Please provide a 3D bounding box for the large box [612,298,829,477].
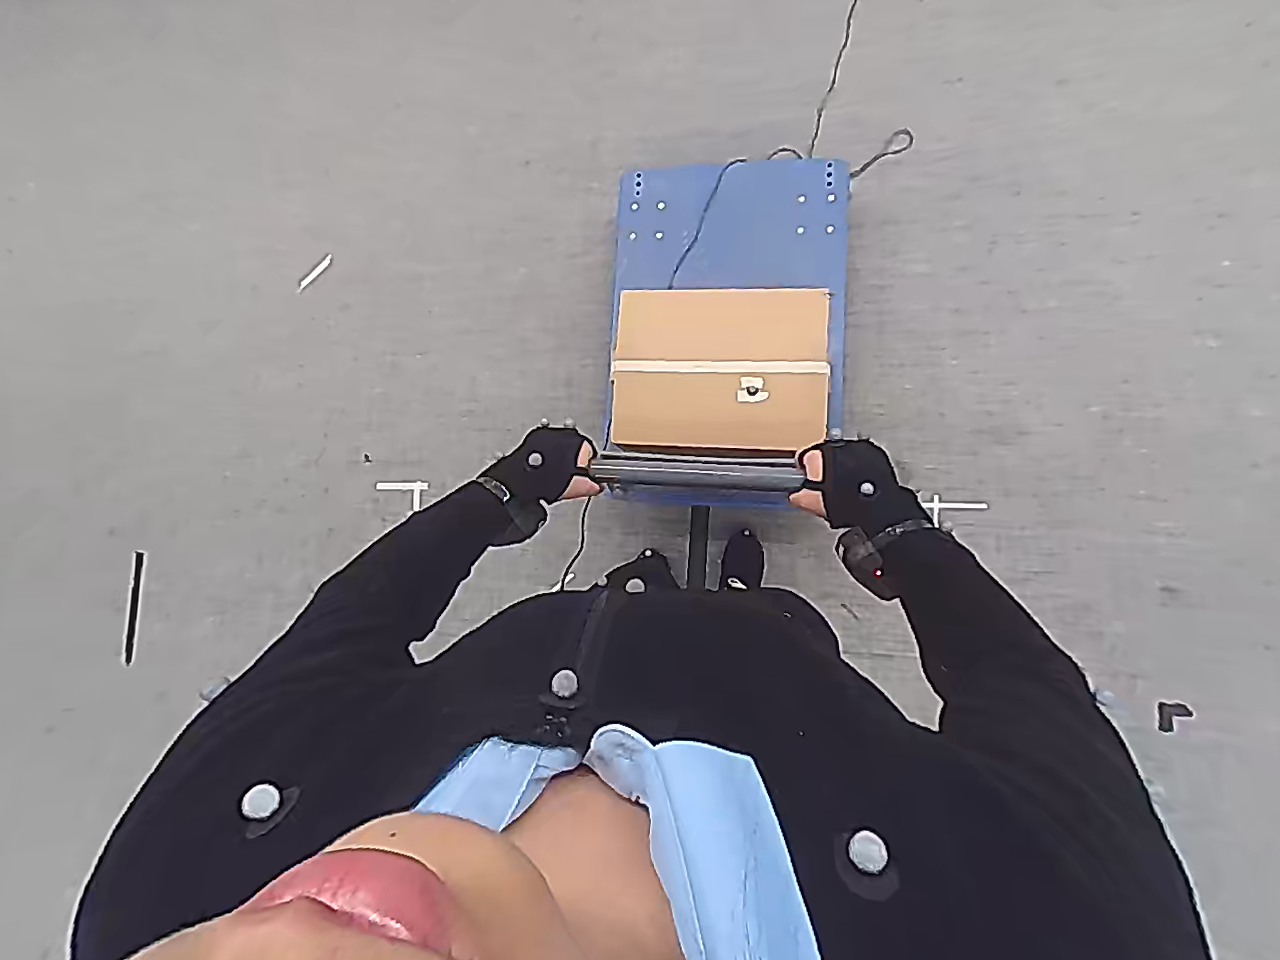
[{"bbox_3d":[0.169,-0.179,1.169,0.408,0.320,0.320,3,85,9],"label":"large box"}]
